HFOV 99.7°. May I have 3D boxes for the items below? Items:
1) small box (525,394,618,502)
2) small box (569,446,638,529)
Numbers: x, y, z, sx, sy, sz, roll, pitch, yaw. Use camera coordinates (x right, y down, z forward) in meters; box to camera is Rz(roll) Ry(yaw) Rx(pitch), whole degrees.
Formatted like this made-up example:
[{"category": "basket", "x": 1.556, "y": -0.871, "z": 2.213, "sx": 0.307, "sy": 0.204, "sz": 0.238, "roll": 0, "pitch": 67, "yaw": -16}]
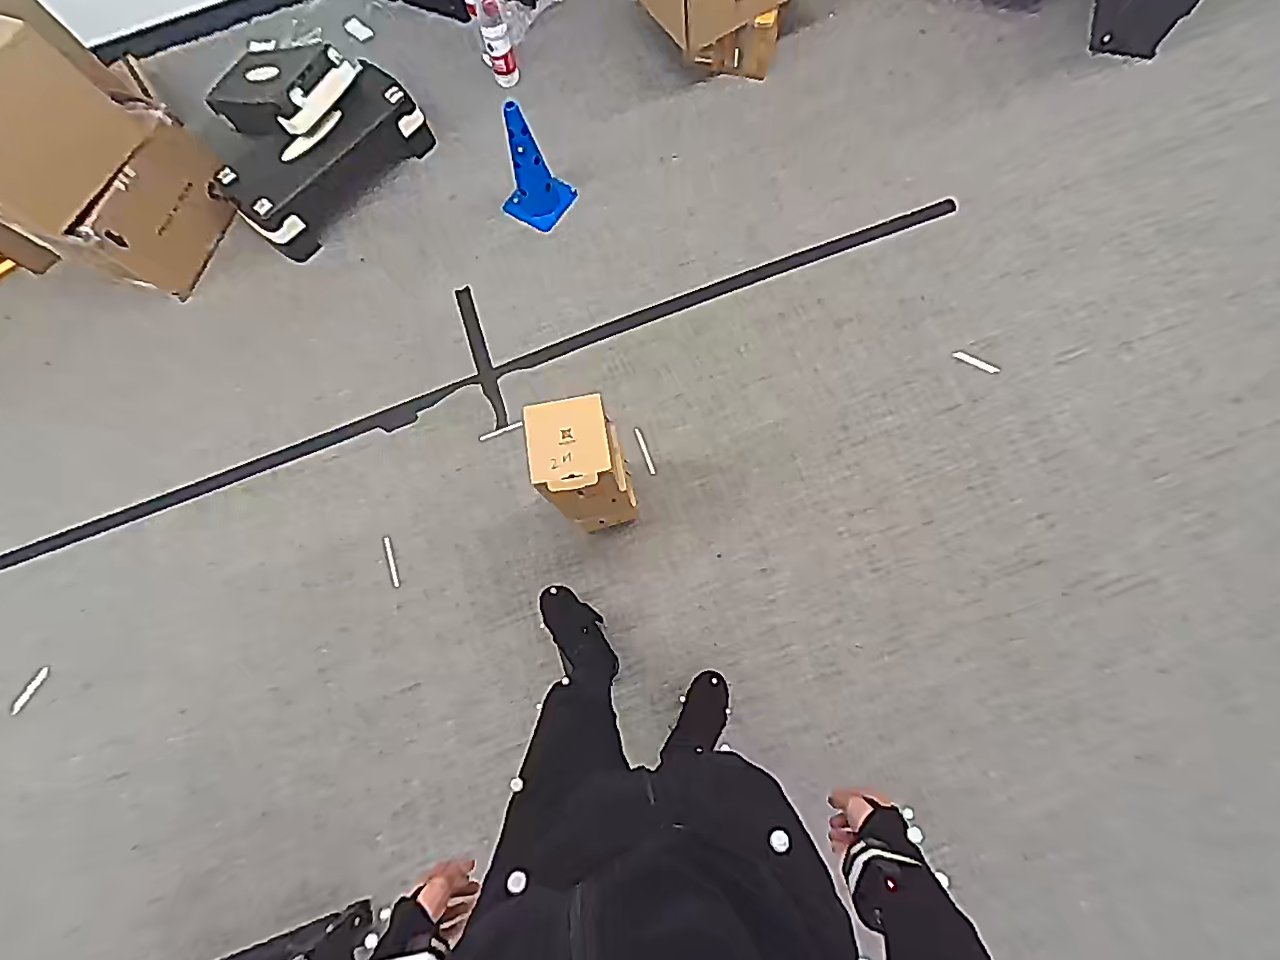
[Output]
[{"category": "small box", "x": -0.145, "y": -0.064, "z": 1.178, "sx": 0.168, "sy": 0.176, "sz": 0.179, "roll": -9, "pitch": 74, "yaw": 1}, {"category": "small box", "x": -0.107, "y": 0.030, "z": 1.492, "sx": 0.168, "sy": 0.176, "sz": 0.179, "roll": -16, "pitch": 74, "yaw": 0}]
